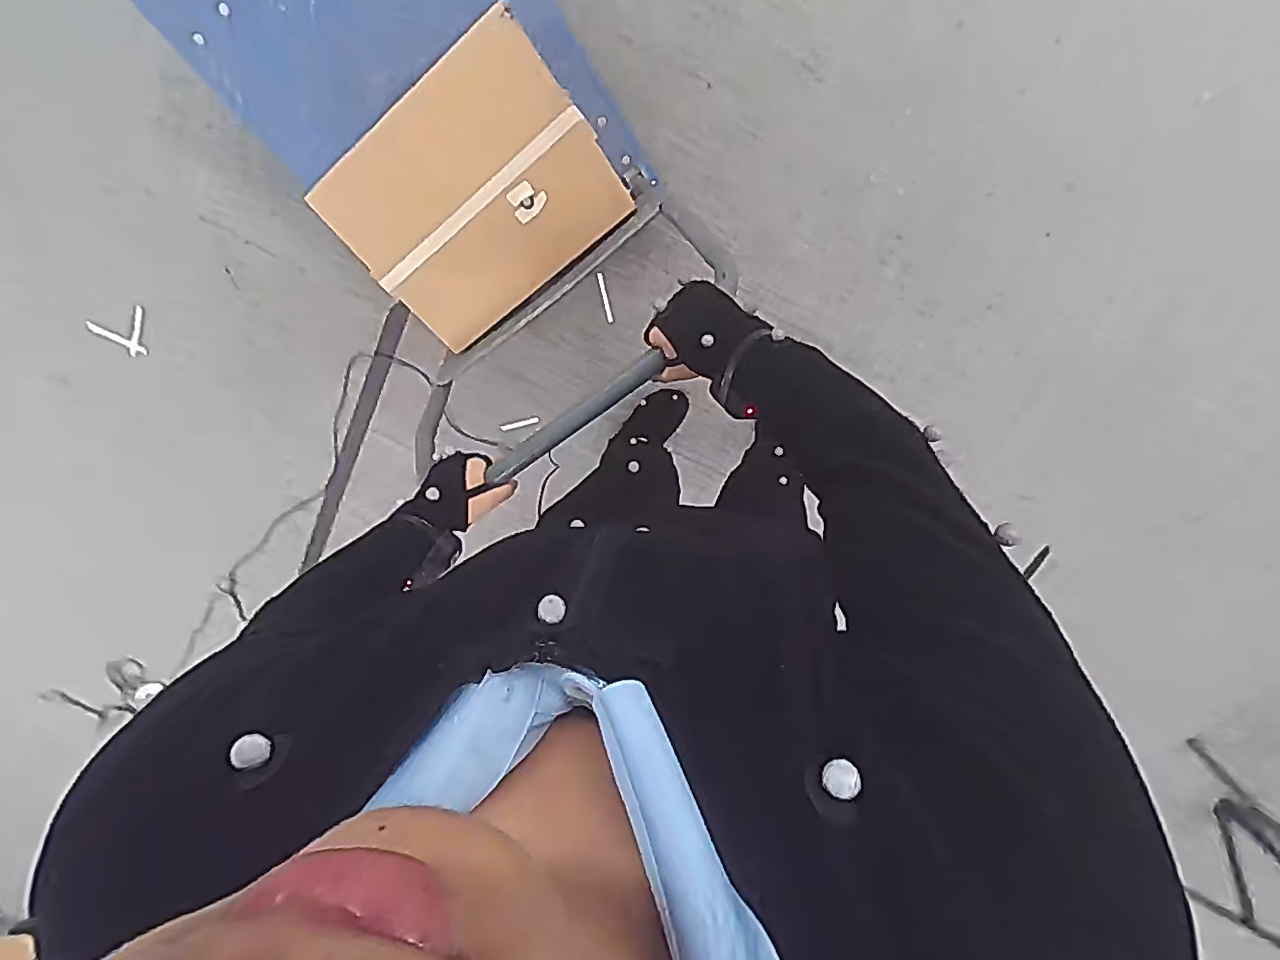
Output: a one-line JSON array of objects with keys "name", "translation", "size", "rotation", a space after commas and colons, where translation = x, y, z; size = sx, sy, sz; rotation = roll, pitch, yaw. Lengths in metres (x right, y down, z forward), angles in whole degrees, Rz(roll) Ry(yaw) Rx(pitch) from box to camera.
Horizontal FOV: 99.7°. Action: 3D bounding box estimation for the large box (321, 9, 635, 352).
[{"name": "large box", "translation": [-0.269, -0.512, 0.984], "size": [0.408, 0.320, 0.320], "rotation": [-36, 120, 13]}]
